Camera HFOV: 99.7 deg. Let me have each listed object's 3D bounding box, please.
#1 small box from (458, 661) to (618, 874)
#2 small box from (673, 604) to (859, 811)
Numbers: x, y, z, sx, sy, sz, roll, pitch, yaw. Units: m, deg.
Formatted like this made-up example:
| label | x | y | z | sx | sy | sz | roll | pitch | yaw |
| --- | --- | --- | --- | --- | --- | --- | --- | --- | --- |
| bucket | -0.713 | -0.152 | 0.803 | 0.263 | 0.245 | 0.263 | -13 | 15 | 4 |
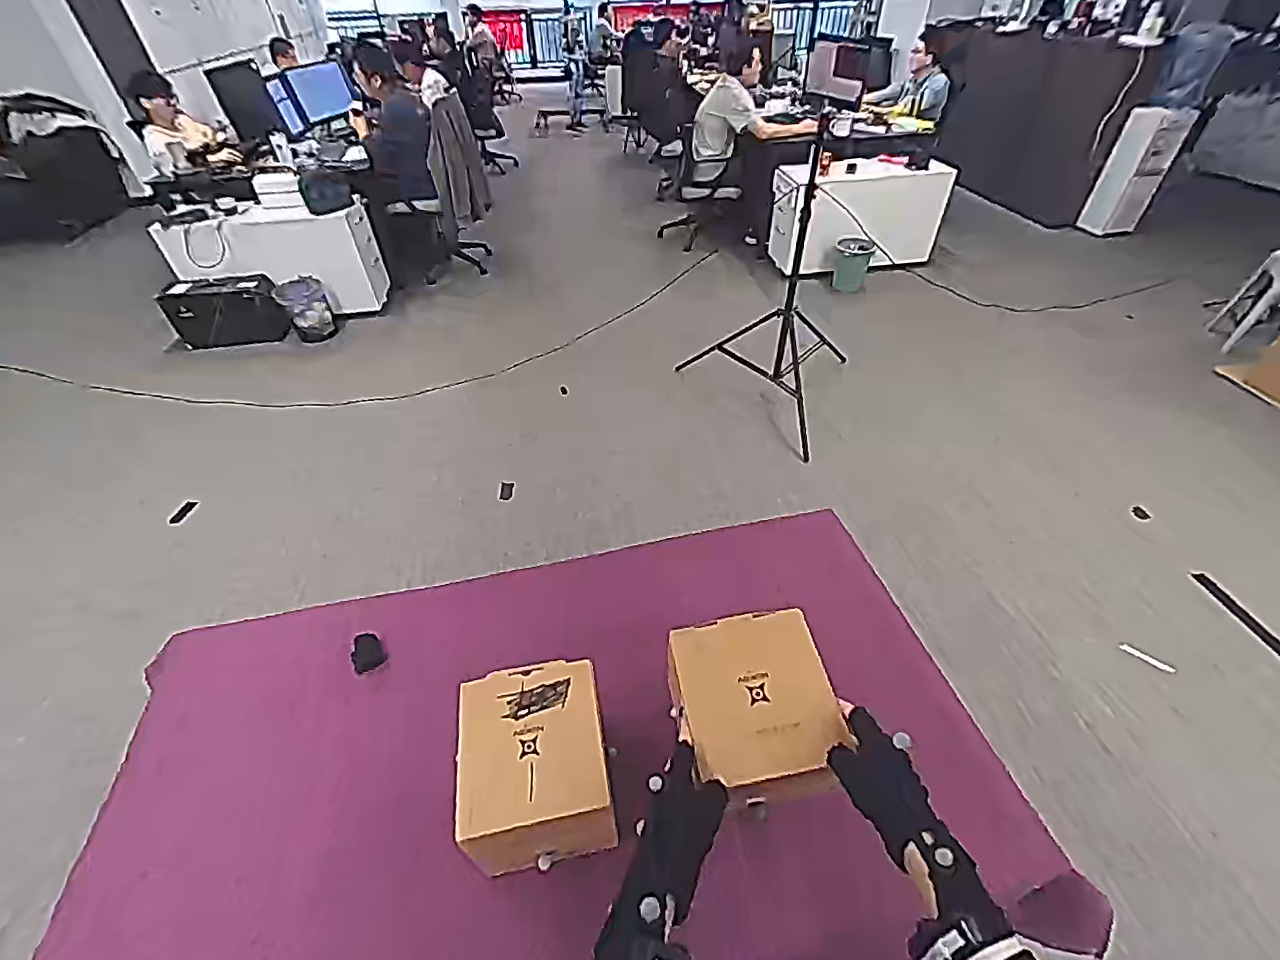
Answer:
| label | x | y | z | sx | sy | sz | roll | pitch | yaw |
| --- | --- | --- | --- | --- | --- | --- | --- | --- | --- |
| small box | -0.123 | 0.361 | 0.683 | 0.168 | 0.176 | 0.179 | -9 | 44 | -7 |
| small box | 0.135 | 0.280 | 0.664 | 0.168 | 0.176 | 0.179 | -10 | 51 | -4 |
